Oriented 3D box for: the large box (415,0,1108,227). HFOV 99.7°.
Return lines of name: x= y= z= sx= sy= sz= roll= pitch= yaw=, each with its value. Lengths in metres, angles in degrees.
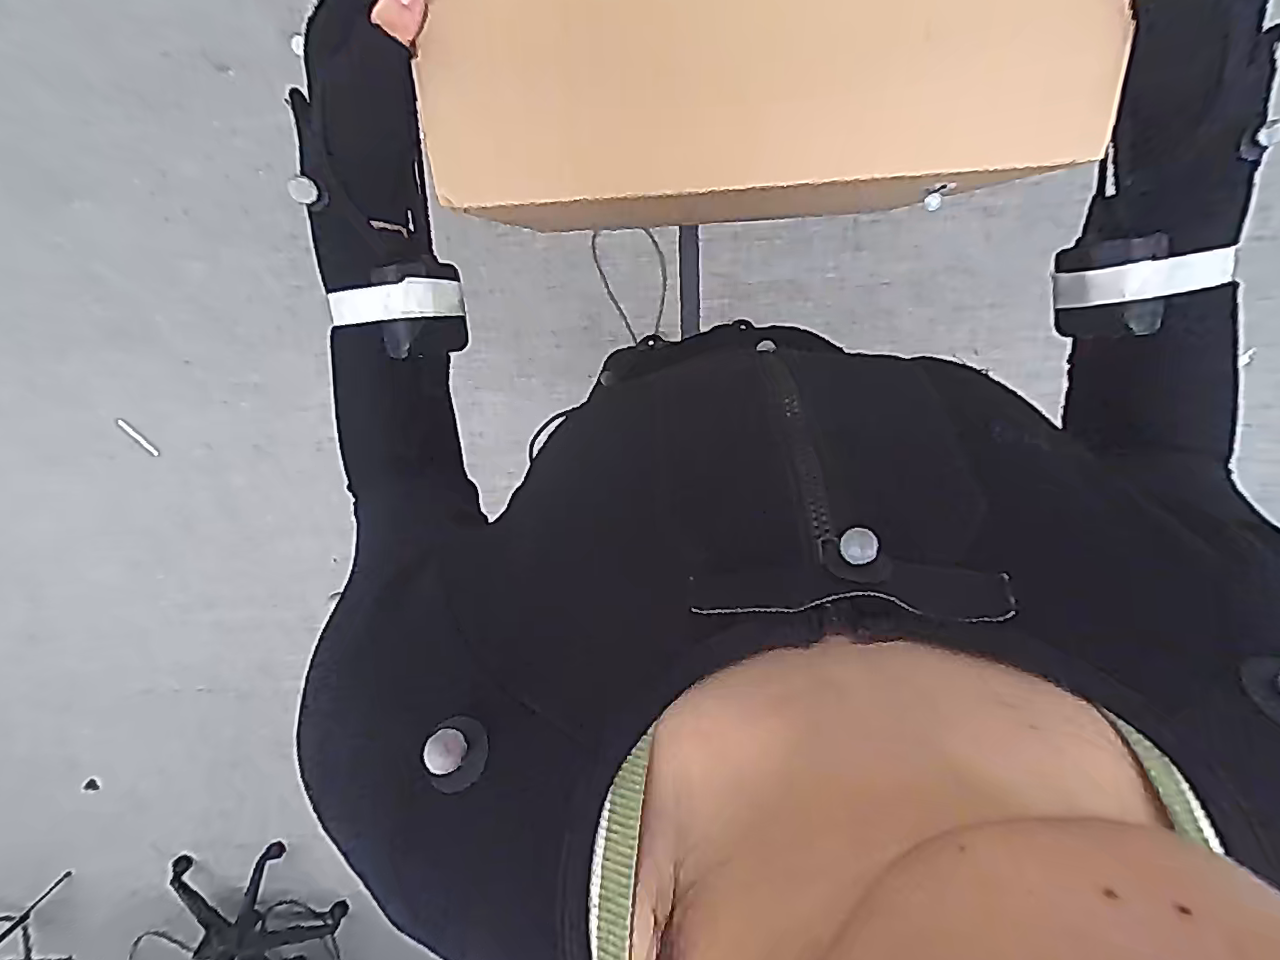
large box: x=0.069 y=-0.388 z=0.426 sx=0.408 sy=0.320 sz=0.320 roll=-3 pitch=112 yaw=3
